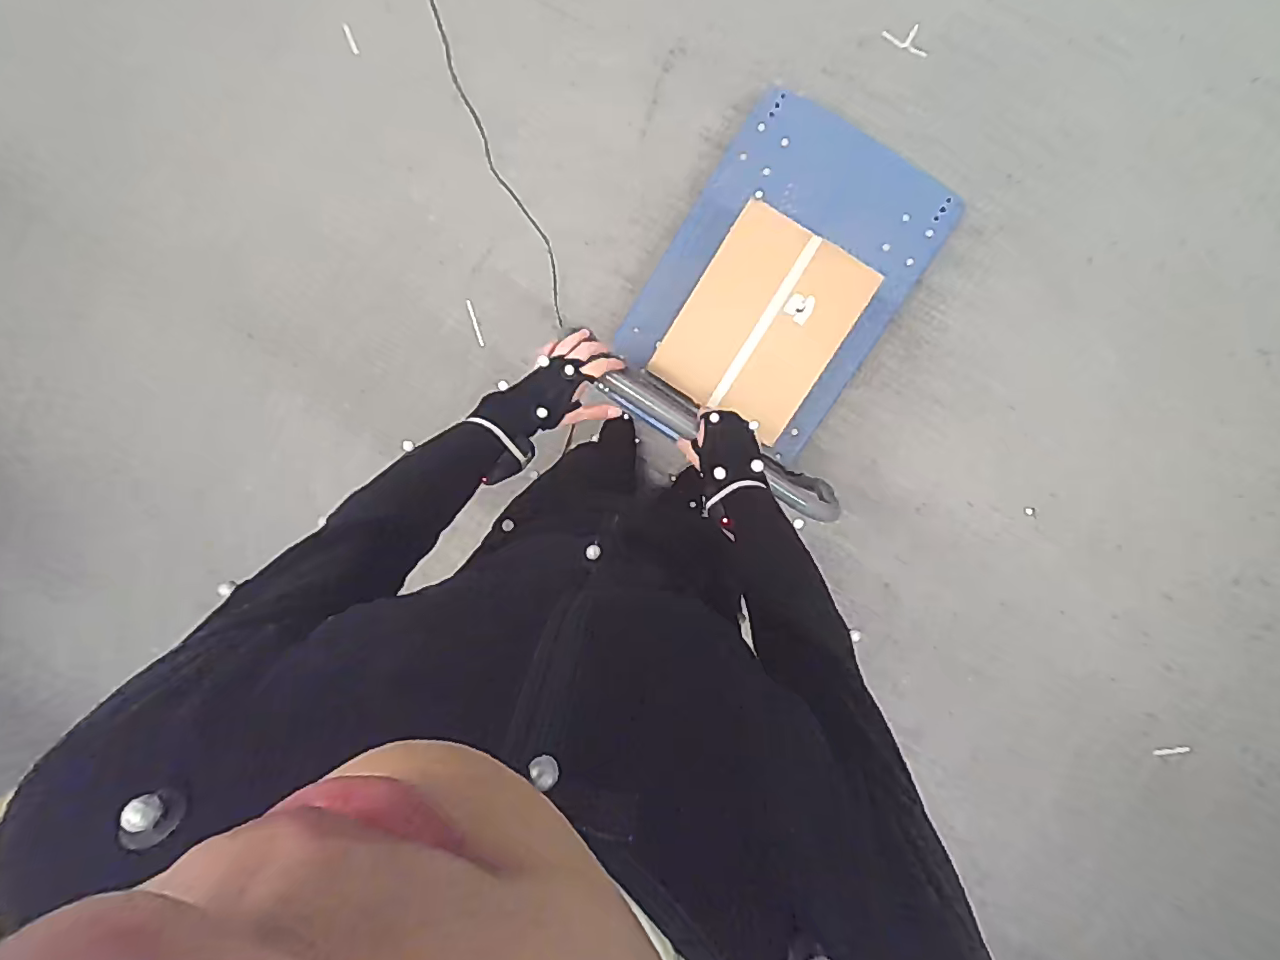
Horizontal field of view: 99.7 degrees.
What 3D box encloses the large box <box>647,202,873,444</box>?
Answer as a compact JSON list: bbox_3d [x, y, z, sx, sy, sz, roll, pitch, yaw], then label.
[{"bbox_3d":[0.253,-0.330,1.261,0.320,0.320,0.408,33,97,1],"label":"large box"}]
